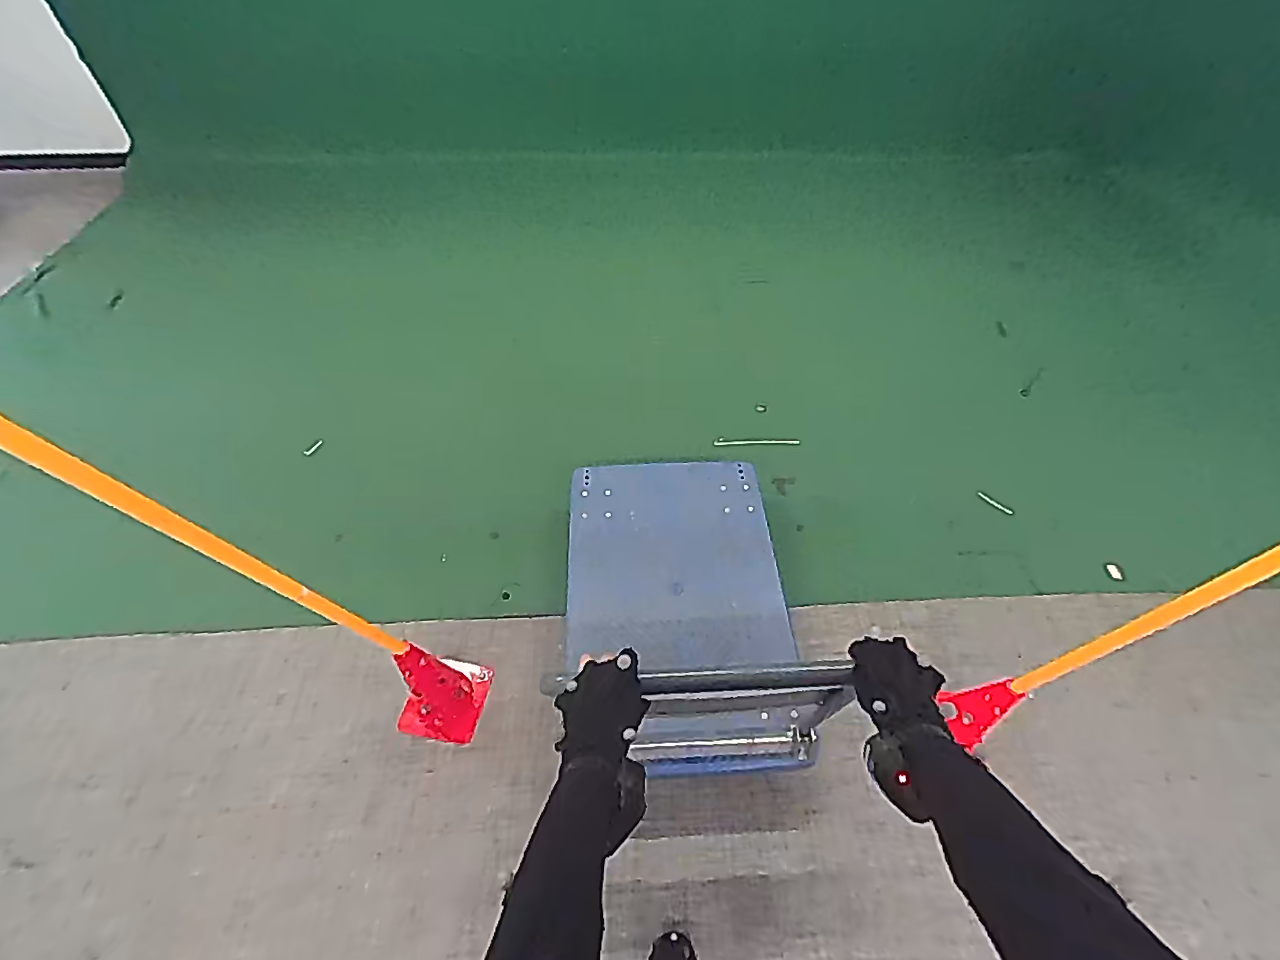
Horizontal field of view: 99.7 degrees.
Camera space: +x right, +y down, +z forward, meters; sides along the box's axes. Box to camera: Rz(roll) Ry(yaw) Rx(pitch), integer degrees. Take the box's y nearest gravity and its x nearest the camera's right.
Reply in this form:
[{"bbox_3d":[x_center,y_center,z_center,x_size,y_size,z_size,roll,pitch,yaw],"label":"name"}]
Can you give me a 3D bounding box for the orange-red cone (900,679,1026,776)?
[{"bbox_3d":[0.777,0.536,1.252,0.198,0.360,0.199,7,53,6],"label":"orange-red cone"}]
